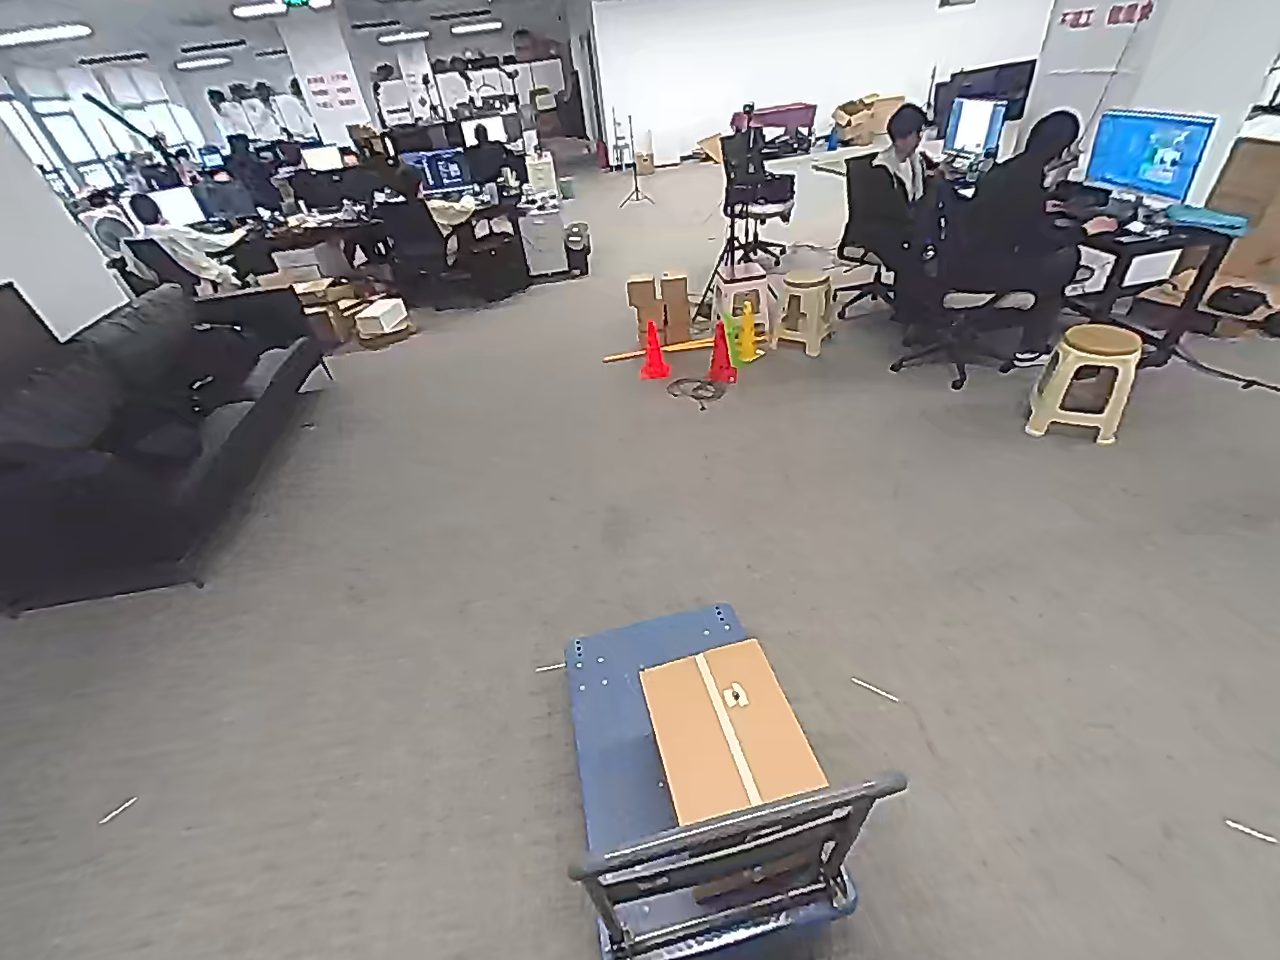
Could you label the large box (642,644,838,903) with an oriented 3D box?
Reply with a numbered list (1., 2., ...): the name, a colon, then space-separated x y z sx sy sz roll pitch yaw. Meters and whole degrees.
1. large box: 0.219 0.683 1.290 0.320 0.320 0.408 -13 37 -7
